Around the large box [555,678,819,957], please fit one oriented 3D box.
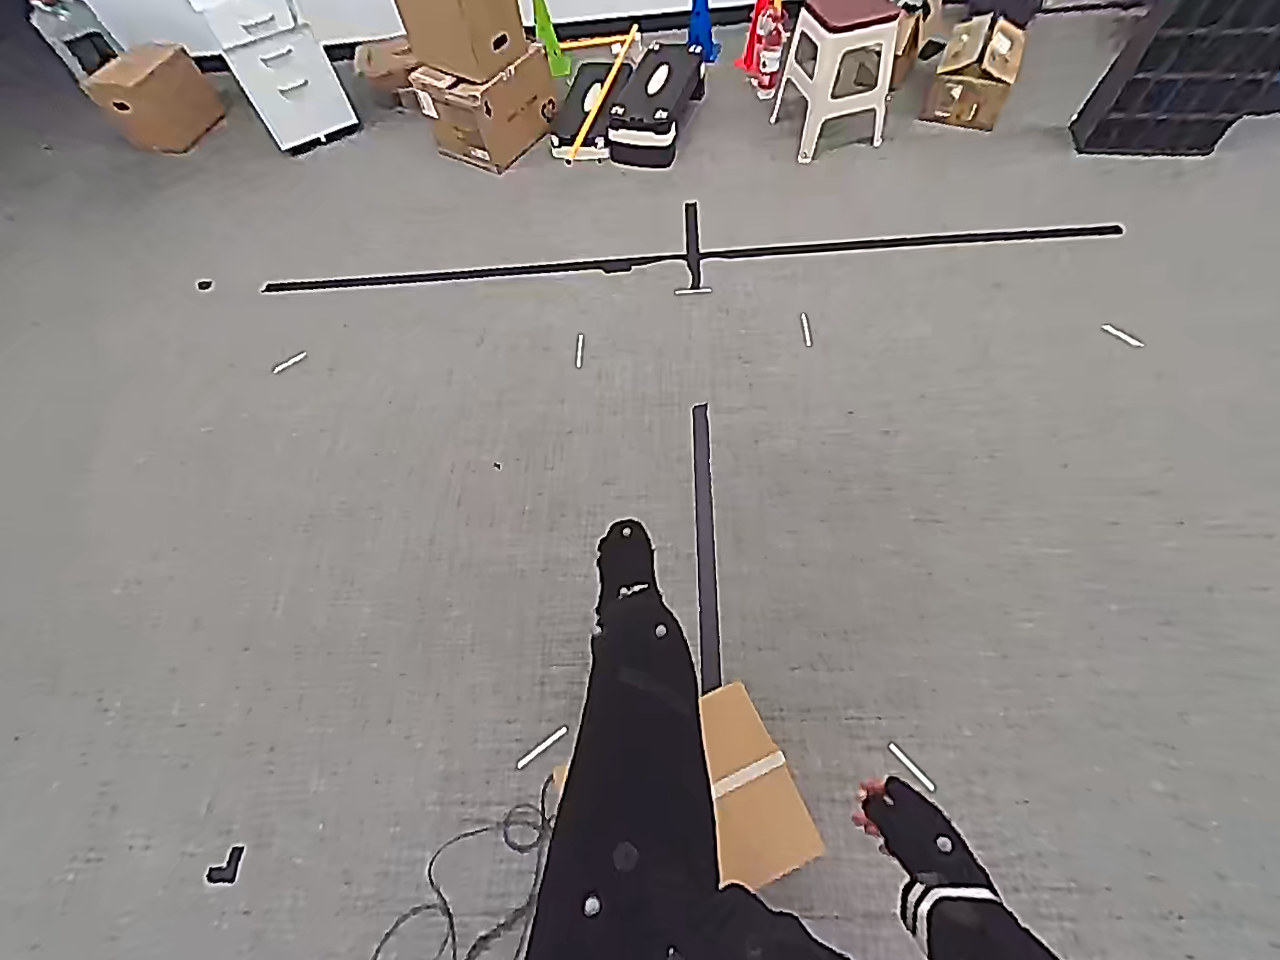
[{"bbox_3d":[0.090,0.658,1.118,0.408,0.320,0.320,-23,62,-7],"label":"large box"}]
